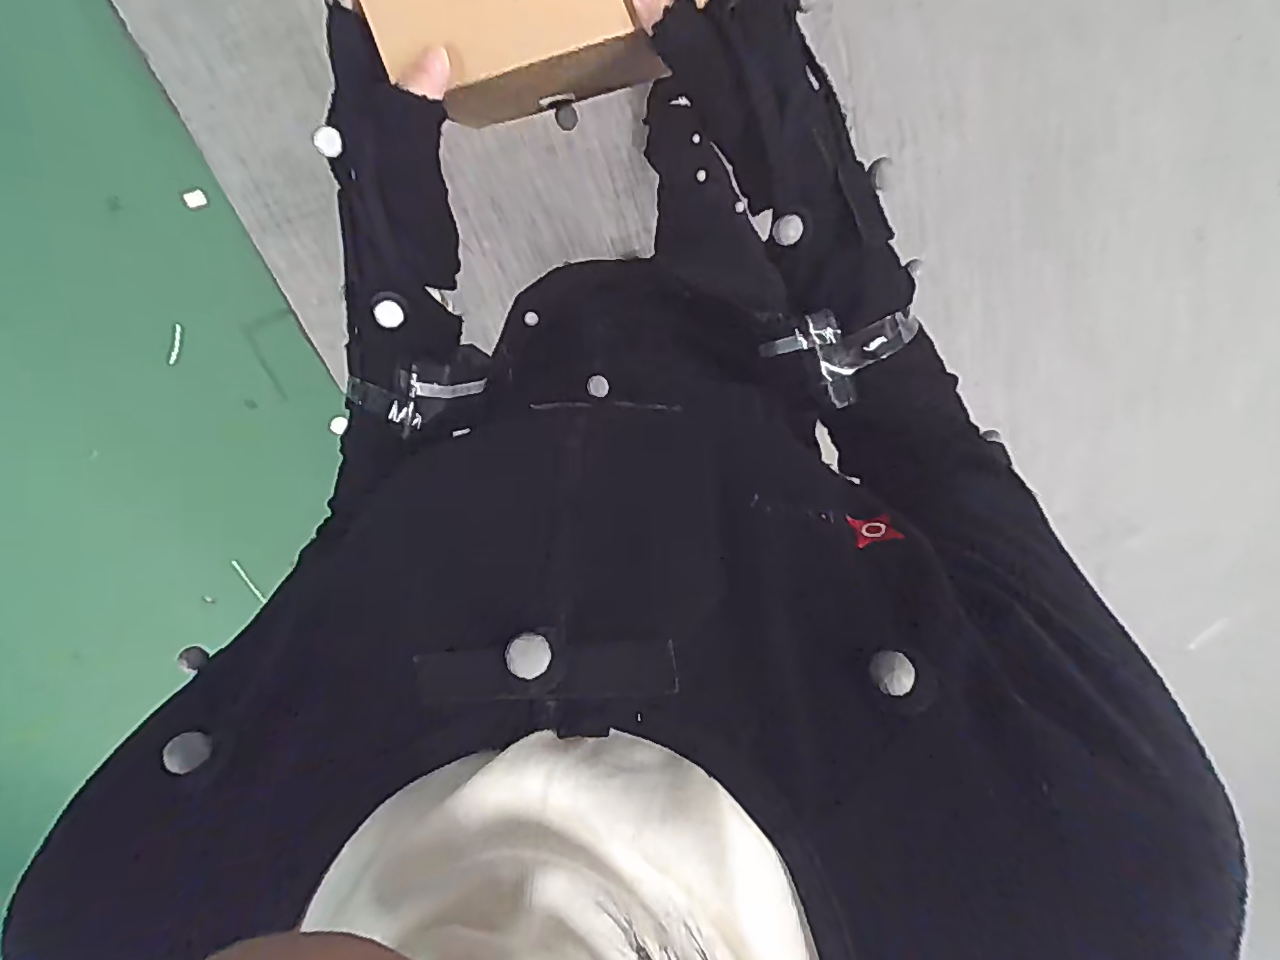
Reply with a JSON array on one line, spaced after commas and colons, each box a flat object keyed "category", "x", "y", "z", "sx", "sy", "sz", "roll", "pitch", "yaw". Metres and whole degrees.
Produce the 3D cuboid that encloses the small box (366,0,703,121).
[{"category": "small box", "x": -0.066, "y": -0.330, "z": 0.304, "sx": 0.168, "sy": 0.176, "sz": 0.179, "roll": -12, "pitch": 118, "yaw": 7}]
